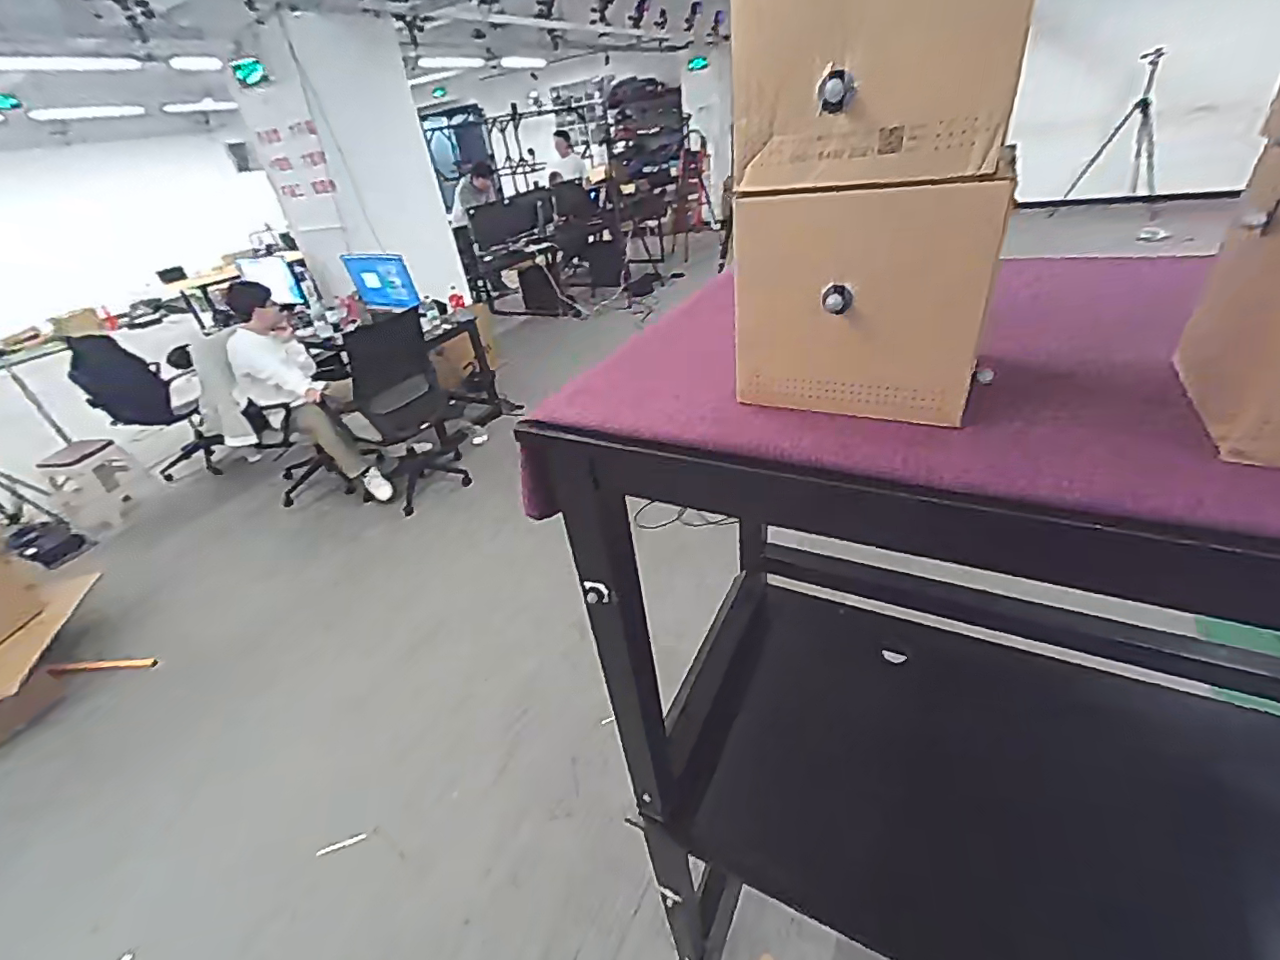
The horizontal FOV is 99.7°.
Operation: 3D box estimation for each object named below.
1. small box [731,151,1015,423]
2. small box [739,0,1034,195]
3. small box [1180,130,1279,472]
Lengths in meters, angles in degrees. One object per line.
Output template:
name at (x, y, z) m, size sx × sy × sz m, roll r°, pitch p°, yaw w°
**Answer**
small box at (0.189, -0.160, 0.451) m, size 0.179 × 0.176 × 0.168 m, roll 10°, pitch 37°, yaw 28°
small box at (0.170, -0.301, 0.373) m, size 0.168 × 0.176 × 0.179 m, roll 11°, pitch 37°, yaw 28°
small box at (0.455, -0.105, 0.307) m, size 0.168 × 0.176 × 0.179 m, roll 11°, pitch 38°, yaw 30°
